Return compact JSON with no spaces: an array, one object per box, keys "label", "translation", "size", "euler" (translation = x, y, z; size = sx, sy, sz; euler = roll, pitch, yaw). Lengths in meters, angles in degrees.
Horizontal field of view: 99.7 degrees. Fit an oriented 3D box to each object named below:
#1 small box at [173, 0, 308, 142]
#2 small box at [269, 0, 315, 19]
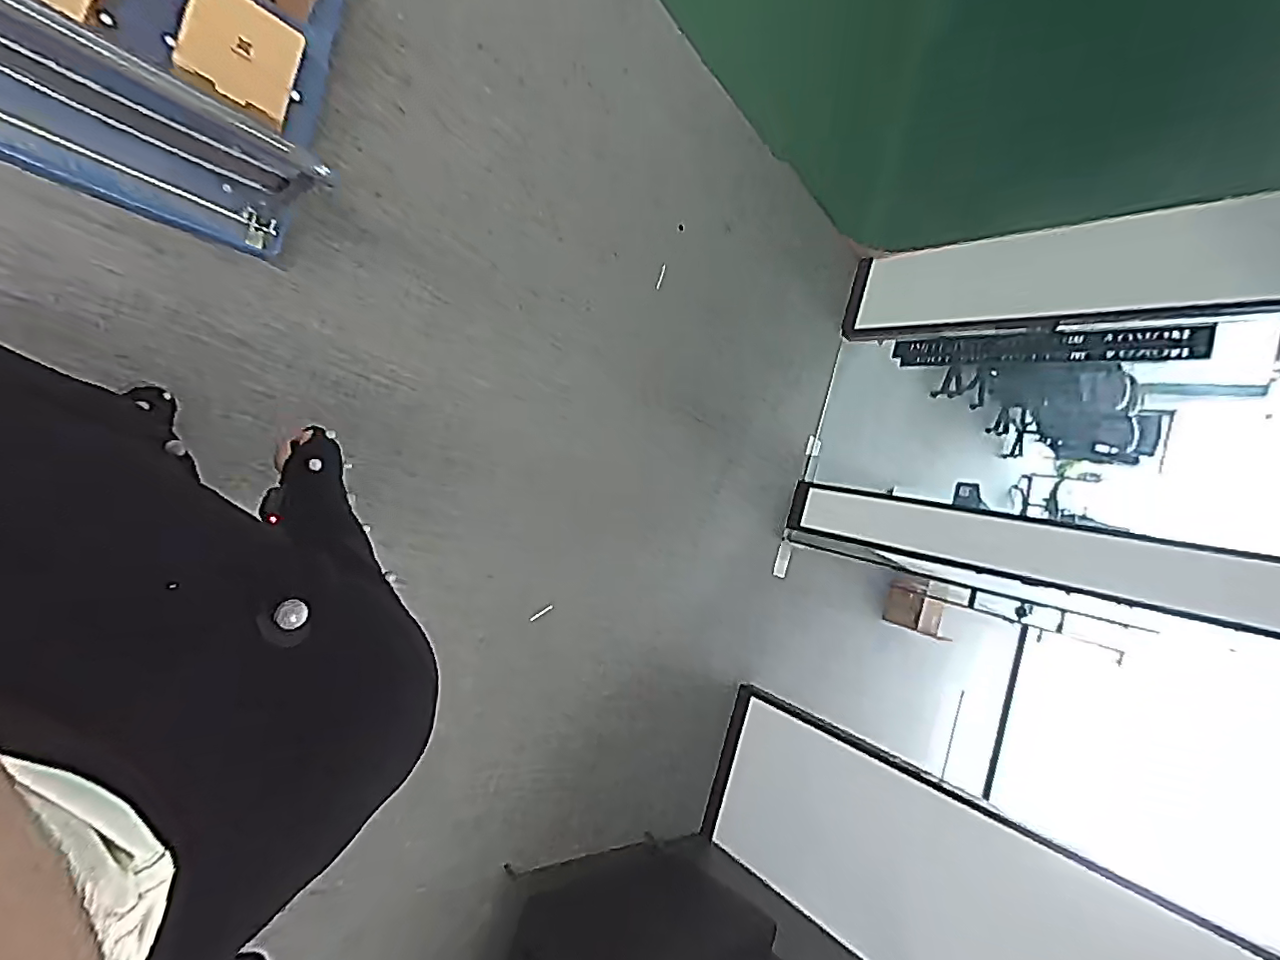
[{"label":"small box","translation":[-0.772,-0.800,1.041],"size":[0.168,0.176,0.179],"euler":[16,88,-44]},{"label":"small box","translation":[-0.705,-1.063,1.043],"size":[0.168,0.176,0.179],"euler":[10,93,-43]}]
